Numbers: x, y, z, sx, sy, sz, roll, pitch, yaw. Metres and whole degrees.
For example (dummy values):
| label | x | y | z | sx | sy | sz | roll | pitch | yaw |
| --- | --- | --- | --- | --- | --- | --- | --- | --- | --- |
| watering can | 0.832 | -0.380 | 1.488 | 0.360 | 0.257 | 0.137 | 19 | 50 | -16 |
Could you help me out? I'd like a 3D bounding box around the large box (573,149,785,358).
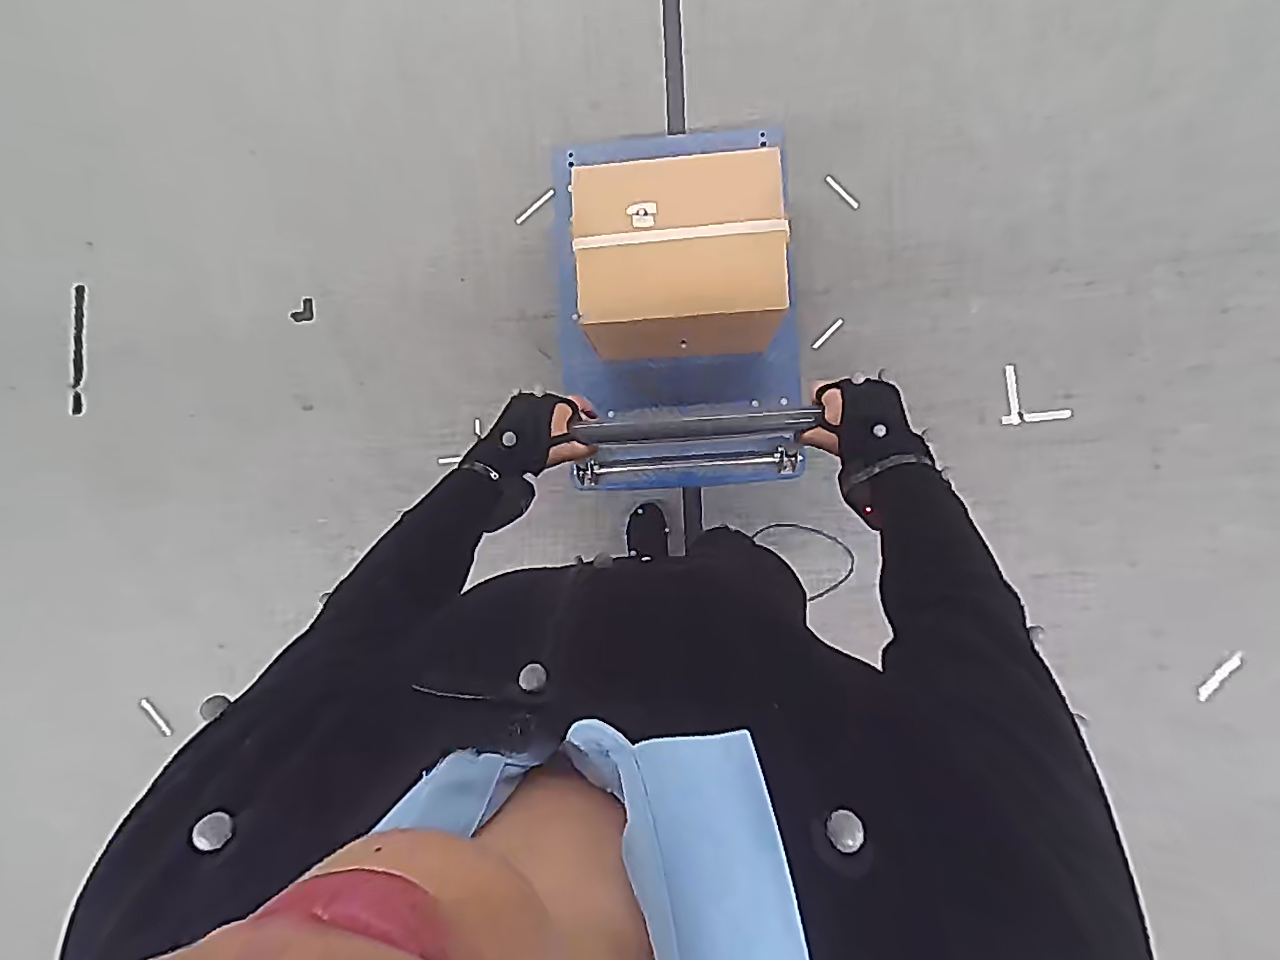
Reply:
| label | x | y | z | sx | sy | sz | roll | pitch | yaw |
| --- | --- | --- | --- | --- | --- | --- | --- | --- | --- |
| large box | 0.088 | -0.472 | 1.205 | 0.408 | 0.320 | 0.320 | -3 | 87 | 6 |
